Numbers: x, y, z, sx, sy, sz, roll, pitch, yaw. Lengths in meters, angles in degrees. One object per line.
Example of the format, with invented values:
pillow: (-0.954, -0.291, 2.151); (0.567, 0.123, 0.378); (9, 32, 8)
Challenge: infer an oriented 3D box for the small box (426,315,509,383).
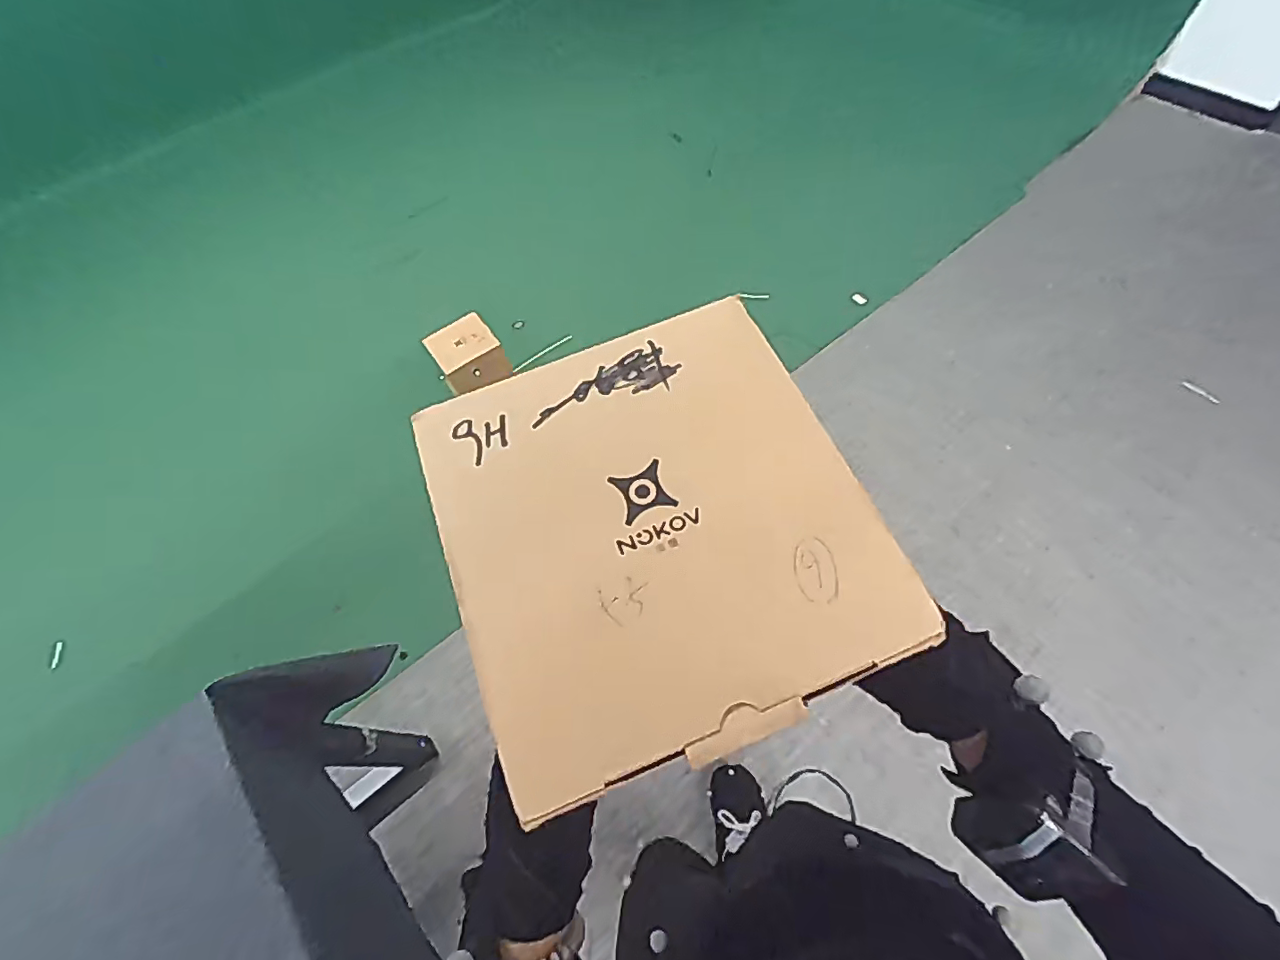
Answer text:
small box: (-0.494, -0.346, 1.604); (0.179, 0.176, 0.168); (-33, 63, -13)

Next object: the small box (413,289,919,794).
small box: (0.005, 0.038, 0.298); (0.168, 0.176, 0.179); (-21, 67, -6)
